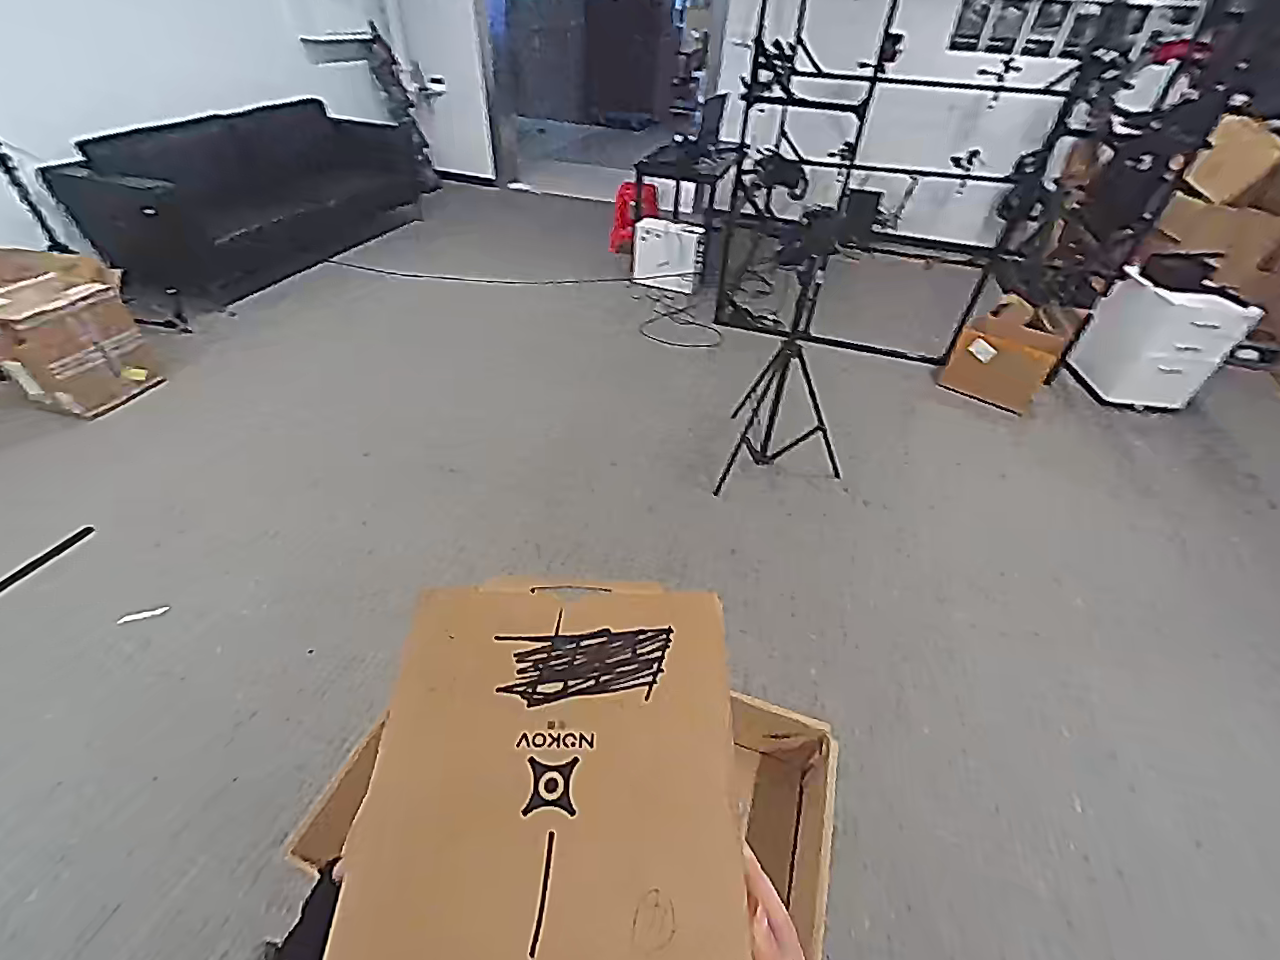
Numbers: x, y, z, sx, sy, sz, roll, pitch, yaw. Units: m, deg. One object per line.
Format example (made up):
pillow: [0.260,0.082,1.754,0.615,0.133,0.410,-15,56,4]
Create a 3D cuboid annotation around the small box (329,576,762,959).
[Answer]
small box: [-0.037,0.174,0.314,0.168,0.176,0.179,1,52,-1]
